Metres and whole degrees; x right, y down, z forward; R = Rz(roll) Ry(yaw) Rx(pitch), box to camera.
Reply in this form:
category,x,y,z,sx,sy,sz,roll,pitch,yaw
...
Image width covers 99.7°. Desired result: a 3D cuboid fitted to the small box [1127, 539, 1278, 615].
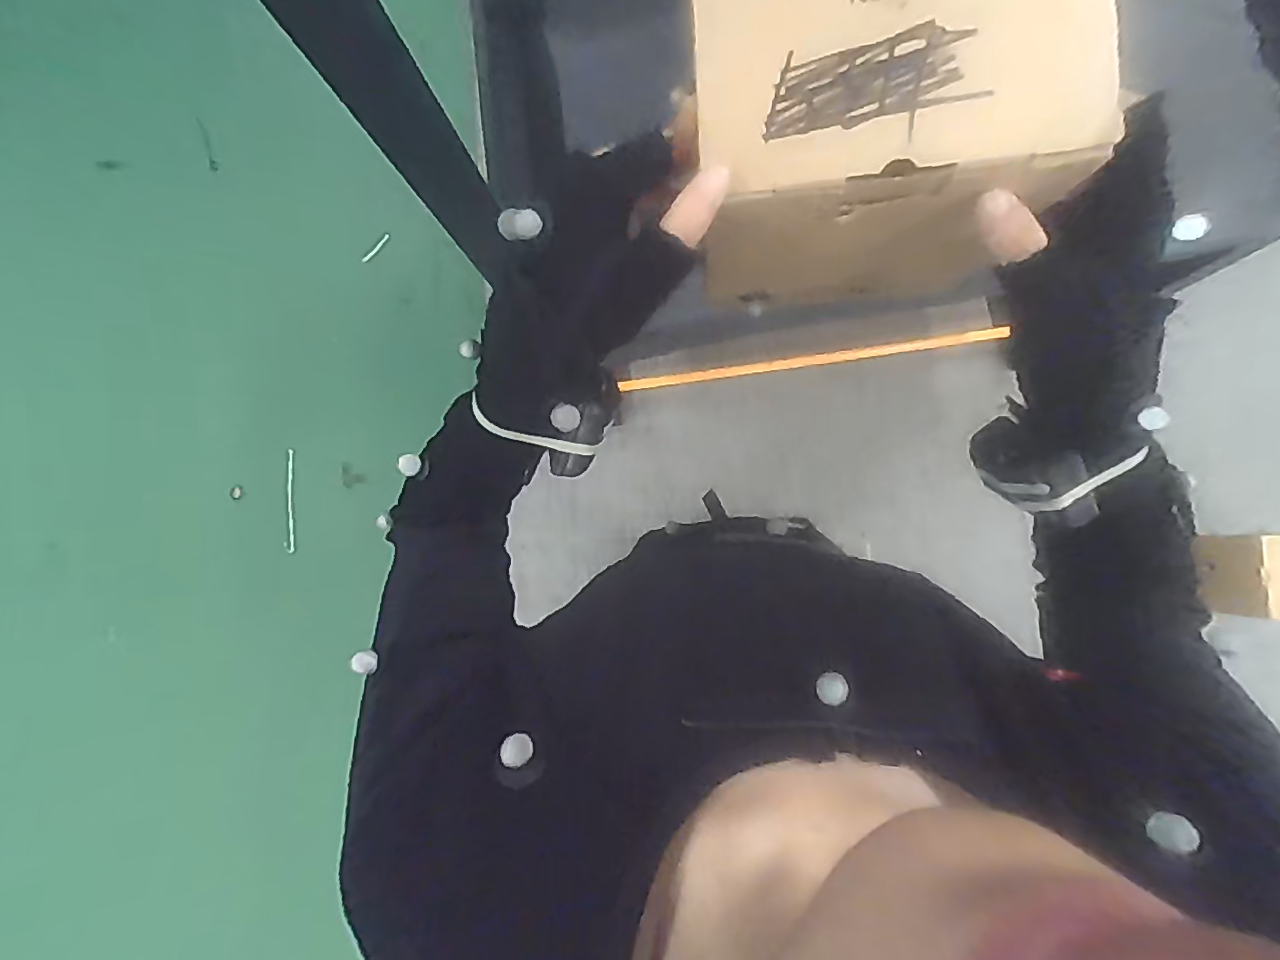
category,x,y,z,sx,sy,sz,roll,pitch,yaw
small box,1.312,0.223,1.273,0.179,0.176,0.168,-1,82,6
